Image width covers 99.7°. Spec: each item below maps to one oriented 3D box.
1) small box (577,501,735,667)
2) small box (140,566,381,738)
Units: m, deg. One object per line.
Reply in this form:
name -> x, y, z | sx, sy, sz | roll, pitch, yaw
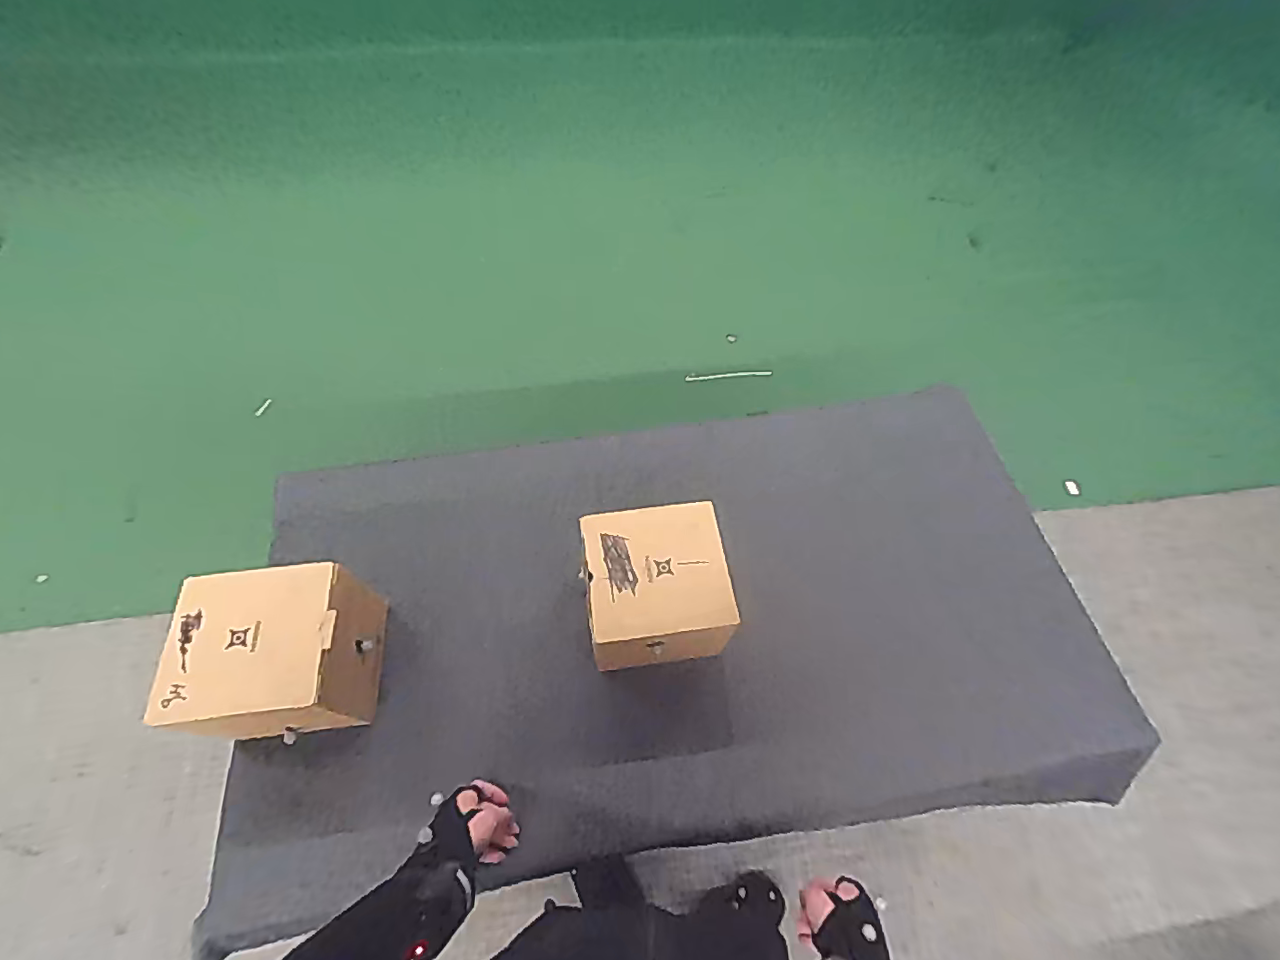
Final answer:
small box -> 0.014, 0.146, 0.728 | 0.179, 0.176, 0.168 | -6, 61, -6
small box -> -0.445, 0.219, 0.674 | 0.179, 0.176, 0.168 | -5, 61, -5
